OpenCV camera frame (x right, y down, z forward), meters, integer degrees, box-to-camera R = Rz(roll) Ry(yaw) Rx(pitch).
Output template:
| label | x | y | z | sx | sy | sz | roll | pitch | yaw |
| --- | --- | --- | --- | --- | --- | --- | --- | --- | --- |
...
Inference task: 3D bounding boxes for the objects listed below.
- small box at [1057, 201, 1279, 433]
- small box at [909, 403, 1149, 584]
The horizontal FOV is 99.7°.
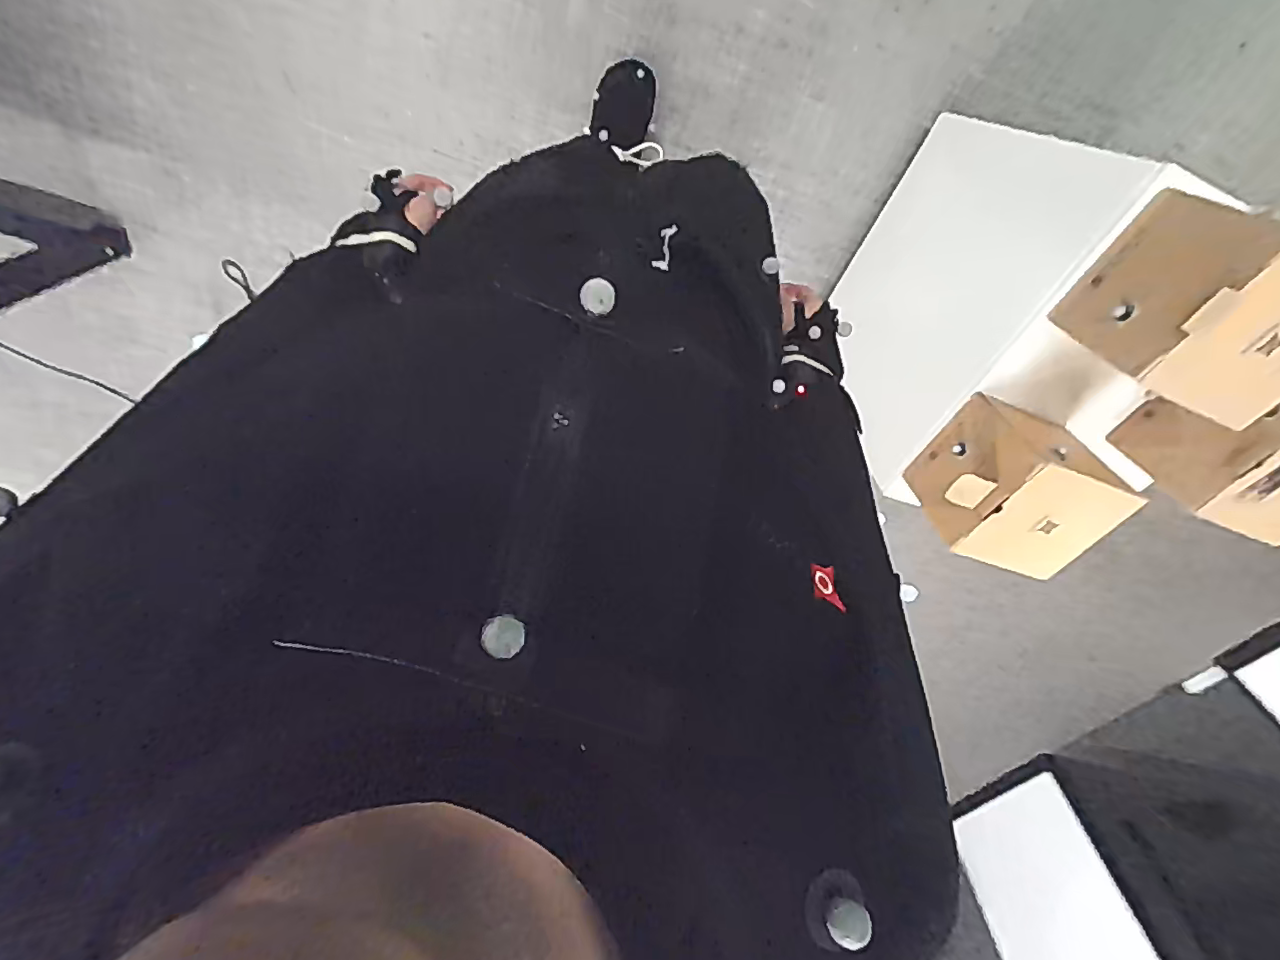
| label | x | y | z | sx | sy | sz | roll | pitch | yaw |
| --- | --- | --- | --- | --- | --- | --- | --- | --- | --- |
| small box | 0.628 | -0.185 | 0.599 | 0.179 | 0.176 | 0.168 | 16 | 129 | -15 |
| small box | 0.525 | 0.016 | 0.758 | 0.179 | 0.176 | 0.168 | 17 | 127 | -14 |
